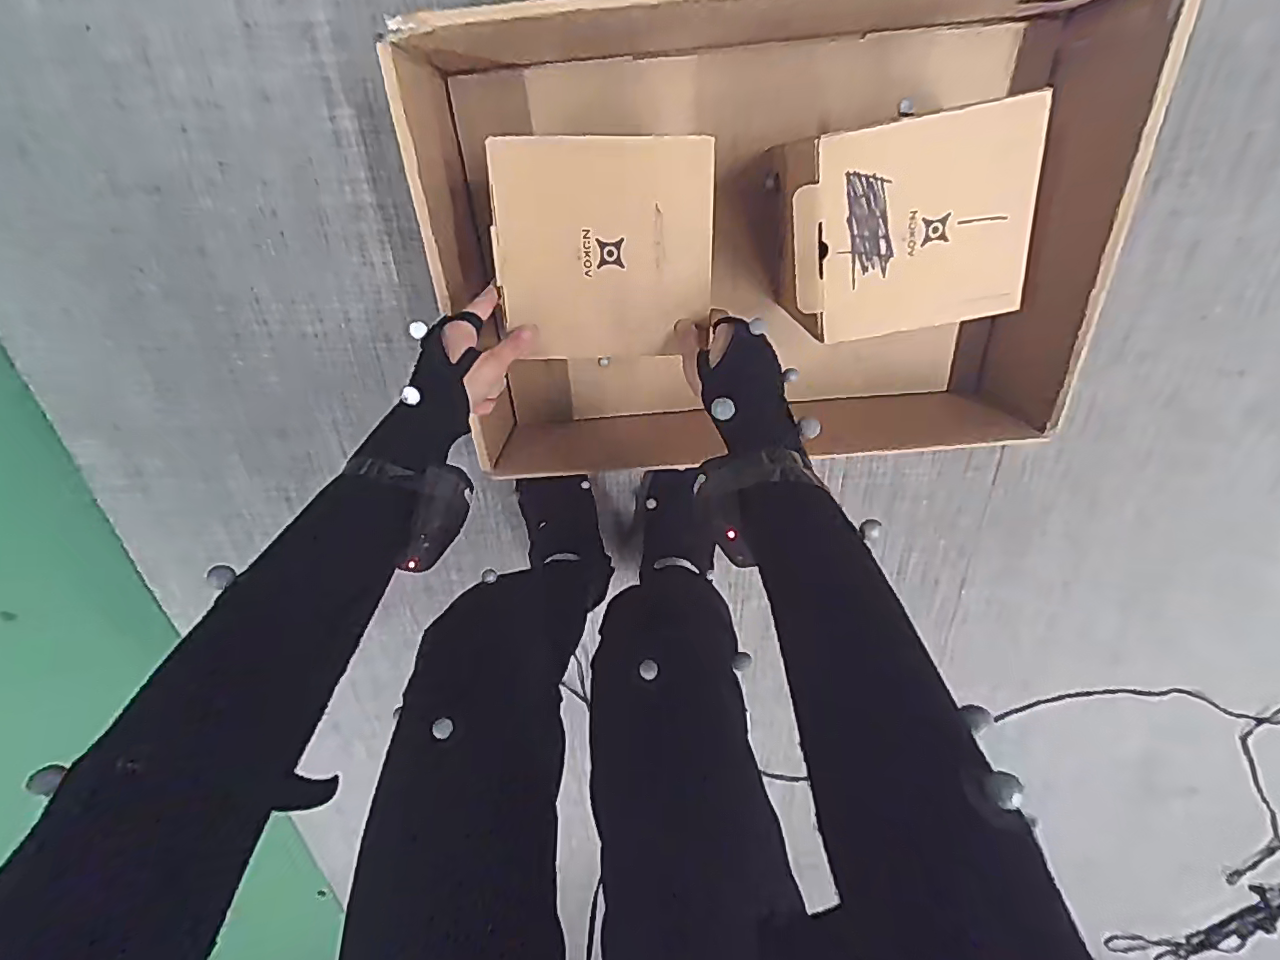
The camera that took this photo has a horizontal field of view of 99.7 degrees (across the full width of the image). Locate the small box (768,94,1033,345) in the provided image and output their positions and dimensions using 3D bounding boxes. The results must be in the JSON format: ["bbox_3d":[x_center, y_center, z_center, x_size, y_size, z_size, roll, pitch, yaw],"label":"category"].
[{"bbox_3d":[0.226,-0.244,0.521,0.179,0.176,0.168,-10,119,5],"label":"small box"}]

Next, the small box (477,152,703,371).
[{"bbox_3d":[-0.040,-0.199,0.513,0.179,0.176,0.168,-3,111,-3],"label":"small box"}]
